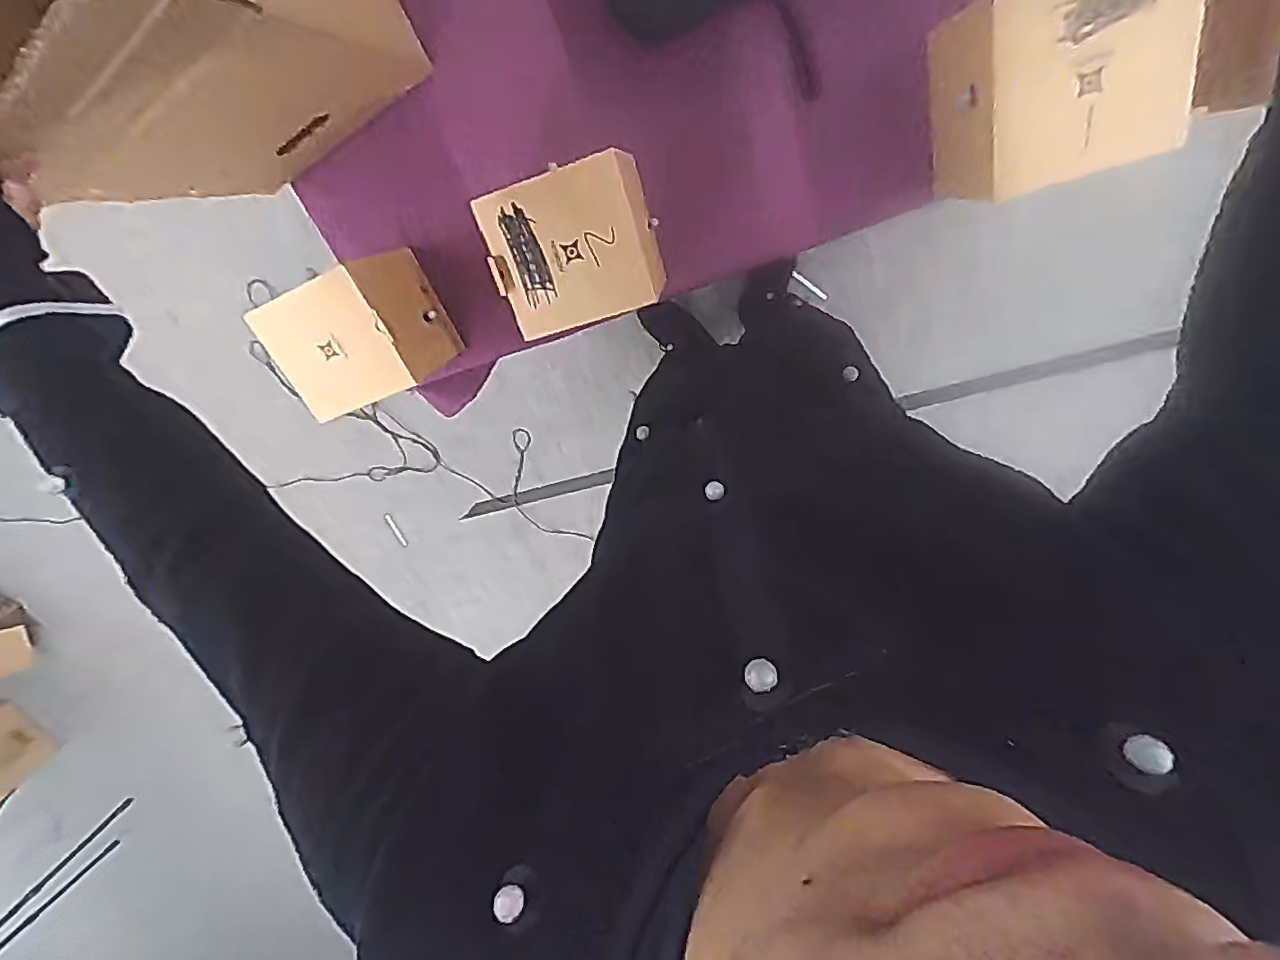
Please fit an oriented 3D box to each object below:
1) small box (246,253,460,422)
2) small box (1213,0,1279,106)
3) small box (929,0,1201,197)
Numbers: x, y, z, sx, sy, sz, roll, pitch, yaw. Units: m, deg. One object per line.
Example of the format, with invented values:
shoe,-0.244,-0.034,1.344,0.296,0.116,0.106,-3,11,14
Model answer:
small box,-0.397,-0.209,0.782,0.179,0.176,0.168,-18,115,16
small box,0.683,-0.470,0.485,0.168,0.176,0.179,-11,117,14
small box,0.414,-0.411,0.557,0.168,0.176,0.179,-12,117,14
